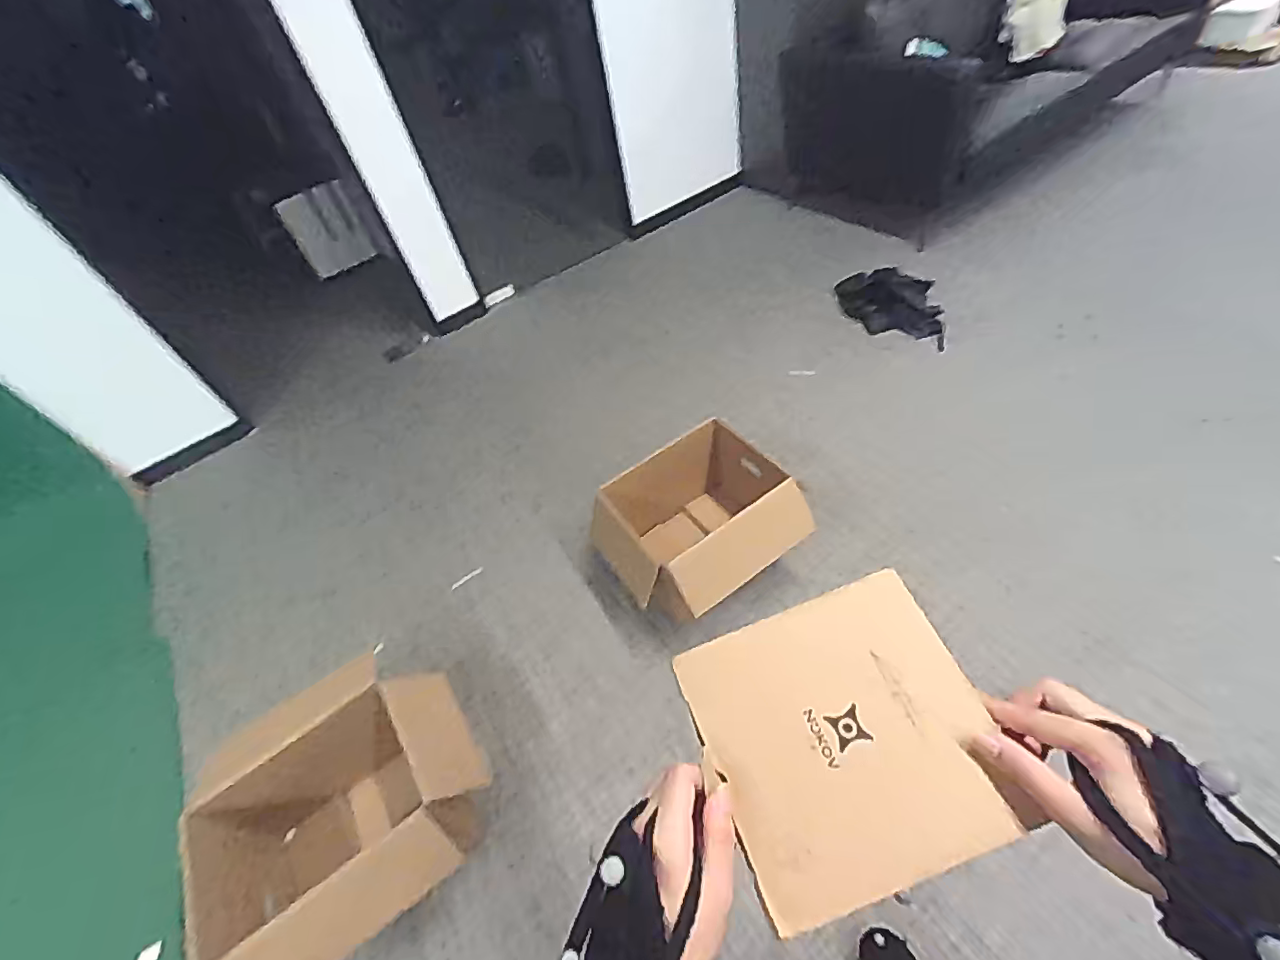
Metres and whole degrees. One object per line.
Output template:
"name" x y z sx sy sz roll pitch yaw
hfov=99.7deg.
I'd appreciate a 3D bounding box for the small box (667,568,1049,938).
"small box" 0.135 0.195 0.406 0.179 0.176 0.168 -21 60 -5
